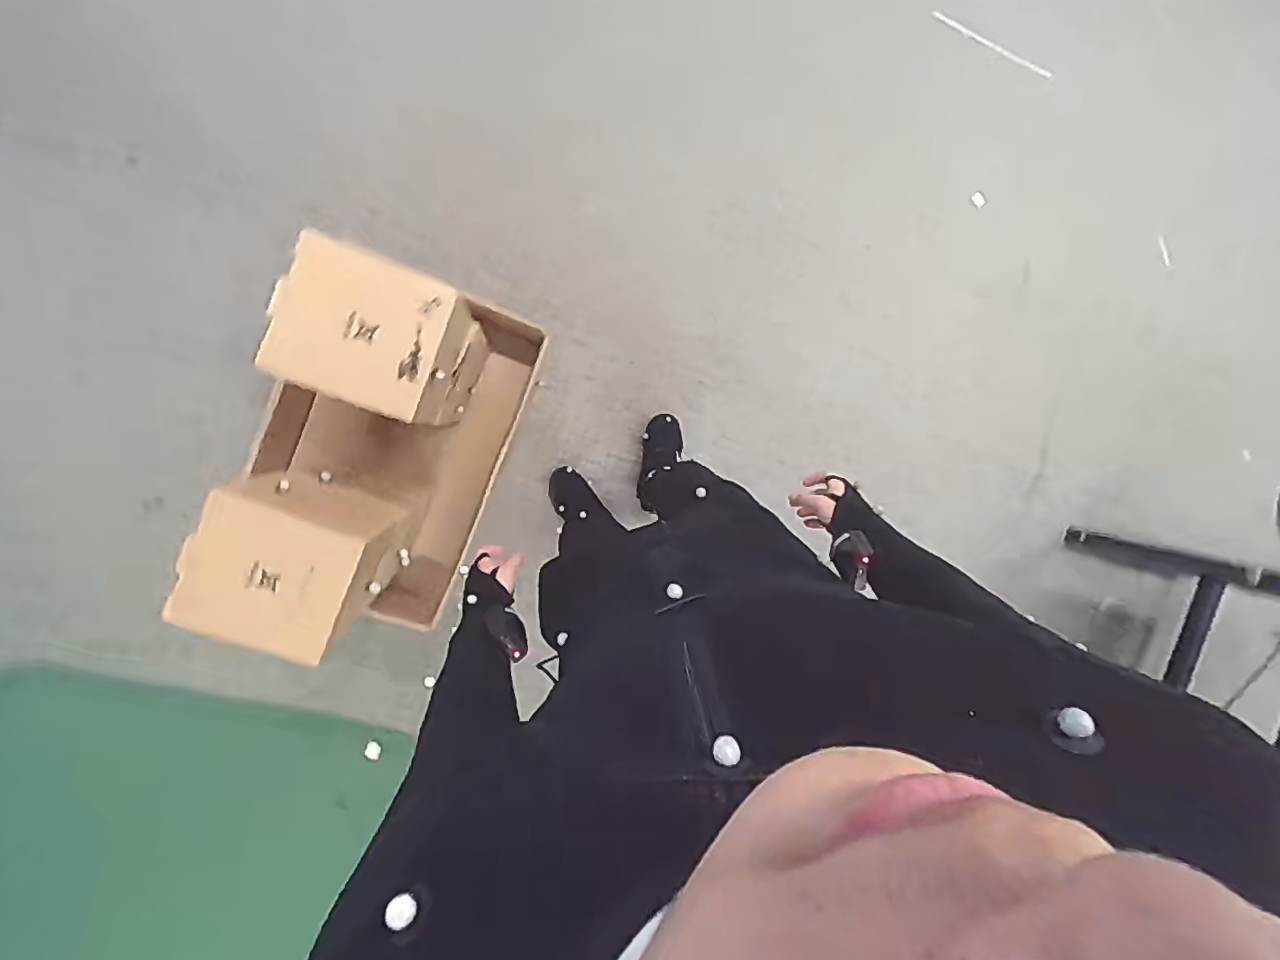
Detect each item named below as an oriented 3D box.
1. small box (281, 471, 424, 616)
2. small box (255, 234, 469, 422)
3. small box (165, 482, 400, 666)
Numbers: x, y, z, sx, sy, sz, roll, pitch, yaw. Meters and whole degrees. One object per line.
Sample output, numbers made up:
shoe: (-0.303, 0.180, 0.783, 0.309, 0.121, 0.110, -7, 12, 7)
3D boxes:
small box: (-0.476, 0.092, 0.867, 0.179, 0.176, 0.168, 23, 92, -12)
small box: (-0.338, -0.177, 0.695, 0.179, 0.176, 0.168, 20, 92, -12)
small box: (-0.446, 0.109, 0.707, 0.179, 0.176, 0.168, 23, 93, -12)
